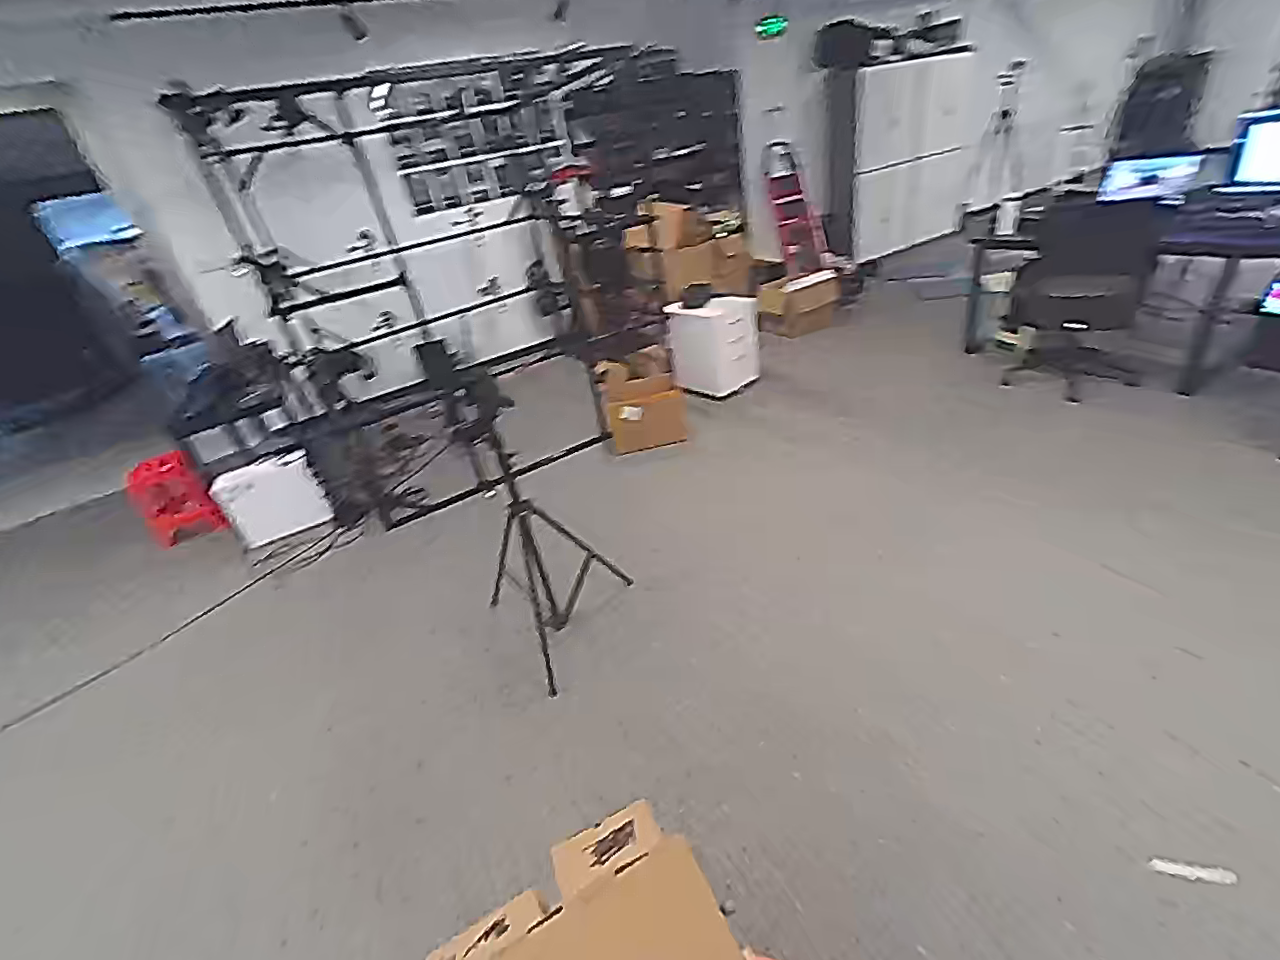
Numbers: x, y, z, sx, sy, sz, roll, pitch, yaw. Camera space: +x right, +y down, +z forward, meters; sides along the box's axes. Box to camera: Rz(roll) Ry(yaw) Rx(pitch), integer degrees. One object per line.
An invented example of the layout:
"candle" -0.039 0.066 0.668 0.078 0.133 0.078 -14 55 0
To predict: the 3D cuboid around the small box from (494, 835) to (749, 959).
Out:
"small box" 0.014 0.415 0.394 0.168 0.176 0.179 -24 40 -13
